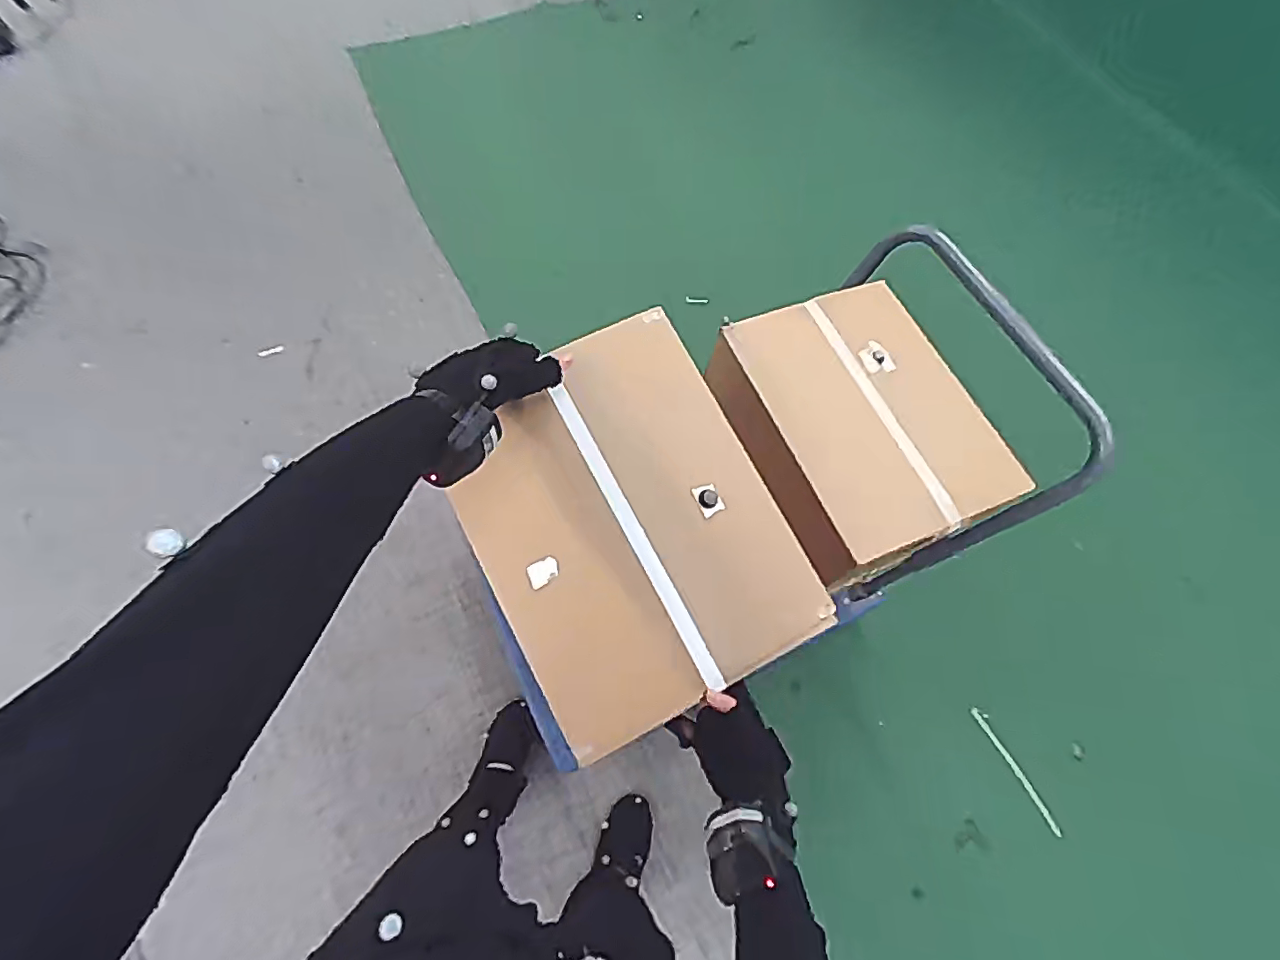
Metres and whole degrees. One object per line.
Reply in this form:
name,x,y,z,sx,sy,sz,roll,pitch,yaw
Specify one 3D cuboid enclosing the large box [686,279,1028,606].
large box,0.315,-0.052,0.920,0.320,0.320,0.408,-19,69,-14
